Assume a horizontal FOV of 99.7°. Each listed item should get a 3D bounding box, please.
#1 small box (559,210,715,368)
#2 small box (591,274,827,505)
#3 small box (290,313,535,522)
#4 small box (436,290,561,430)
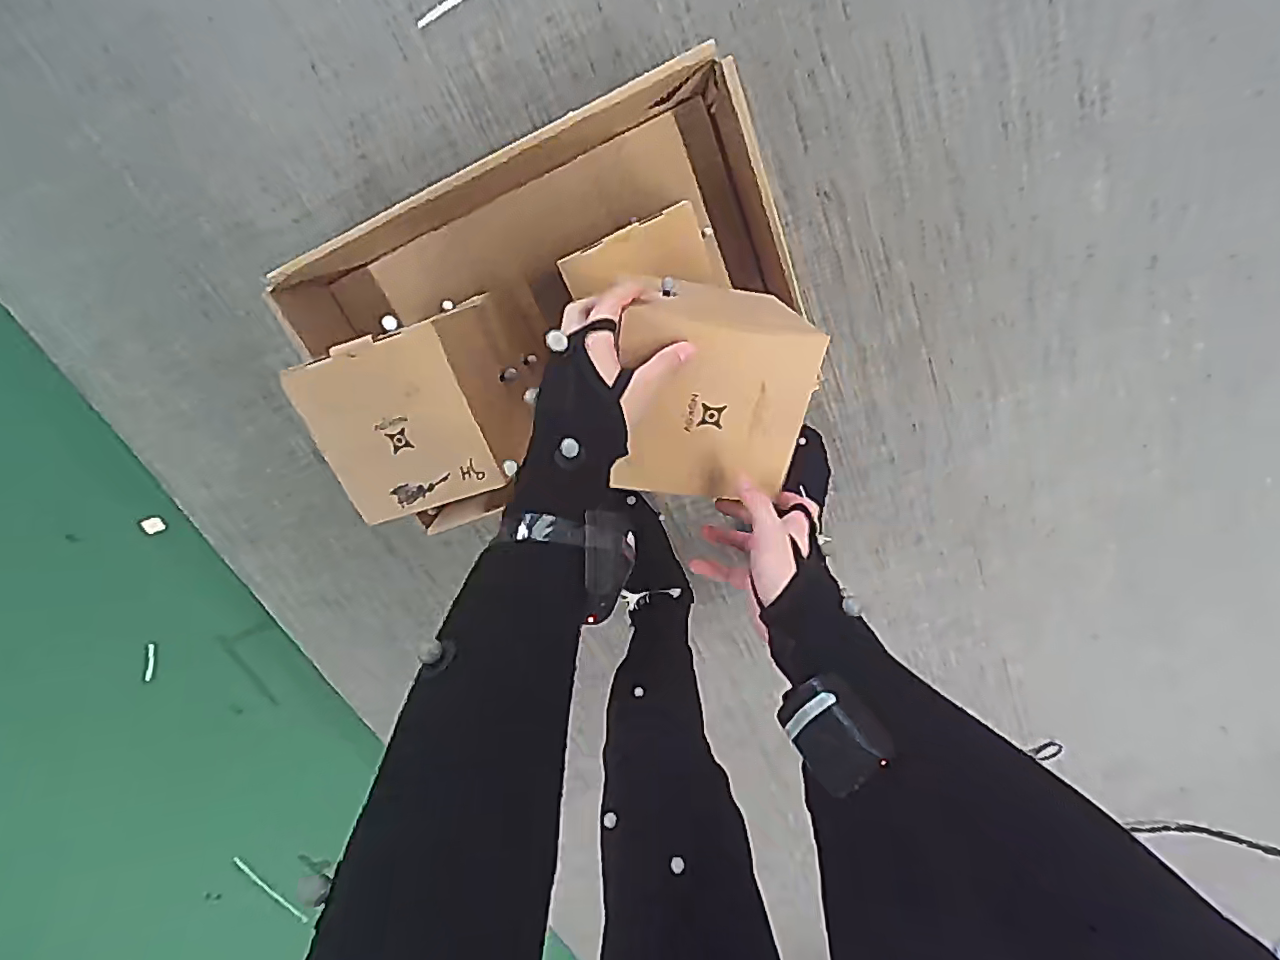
[{"bbox_3d":[0.015,-0.239,0.720,0.168,0.176,0.179,-21,112,11],"label":"small box"},{"bbox_3d":[0.053,-0.099,0.551,0.179,0.176,0.168,10,121,-10],"label":"small box"},{"bbox_3d":[-0.237,-0.082,0.616,0.168,0.176,0.179,-16,113,8],"label":"small box"},{"bbox_3d":[-0.227,-0.149,0.764,0.168,0.176,0.179,-22,111,10],"label":"small box"}]
